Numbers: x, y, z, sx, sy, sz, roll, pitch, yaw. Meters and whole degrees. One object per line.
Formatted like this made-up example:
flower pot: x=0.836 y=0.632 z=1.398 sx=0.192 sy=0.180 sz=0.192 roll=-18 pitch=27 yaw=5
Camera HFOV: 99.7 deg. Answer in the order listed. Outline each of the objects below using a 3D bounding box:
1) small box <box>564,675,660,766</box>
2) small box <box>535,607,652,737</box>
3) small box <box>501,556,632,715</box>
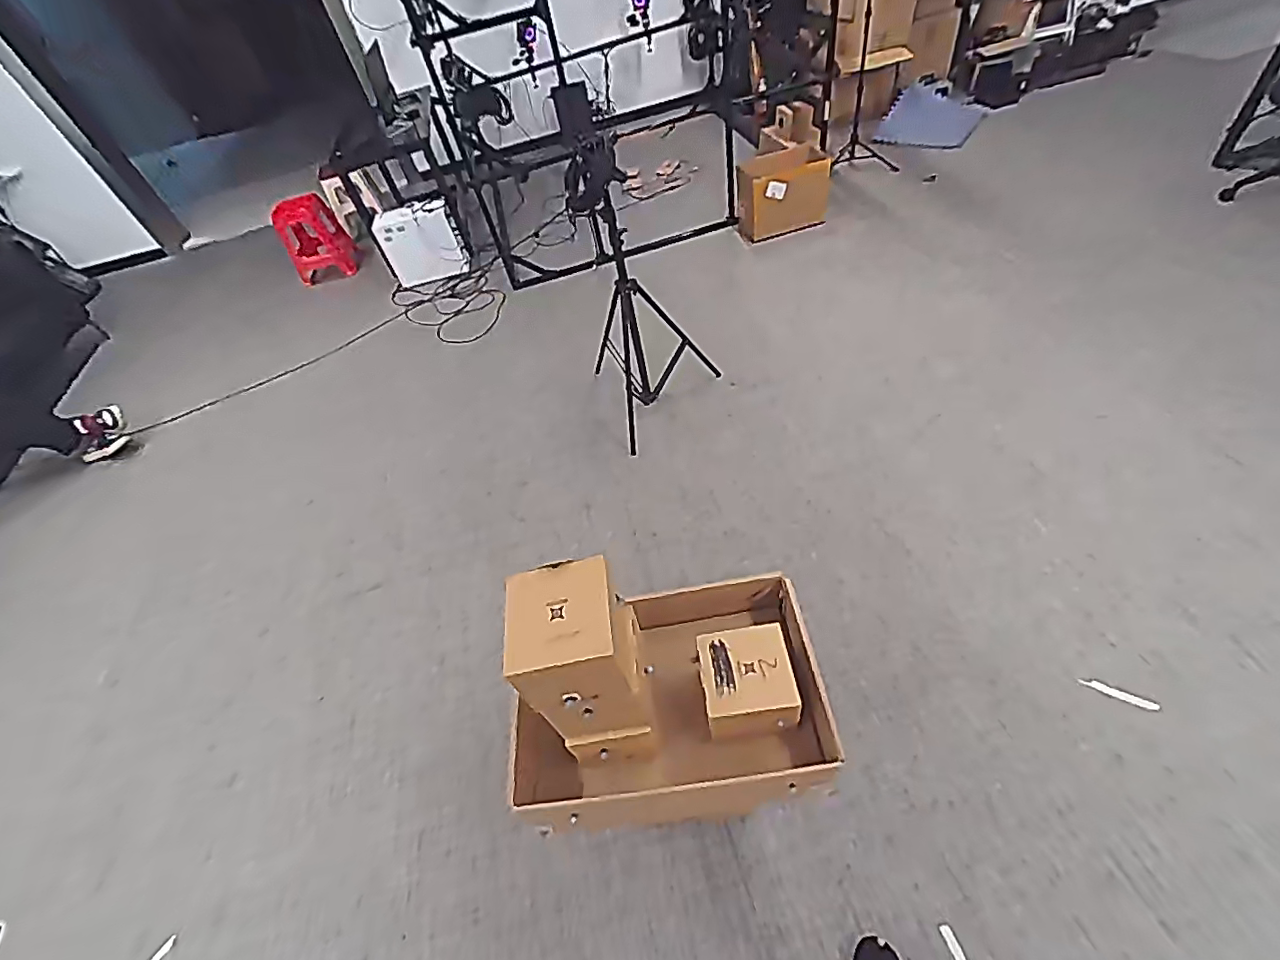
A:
small box: x=-0.058 y=0.472 z=1.114 sx=0.168 sy=0.176 sz=0.179 roll=-11 pitch=48 yaw=2
small box: x=-0.082 y=0.359 z=0.998 sx=0.179 sy=0.176 sz=0.168 roll=-10 pitch=48 yaw=3
small box: x=-0.114 y=0.253 z=0.876 sx=0.168 sy=0.176 sz=0.179 roll=-12 pitch=47 yaw=3
